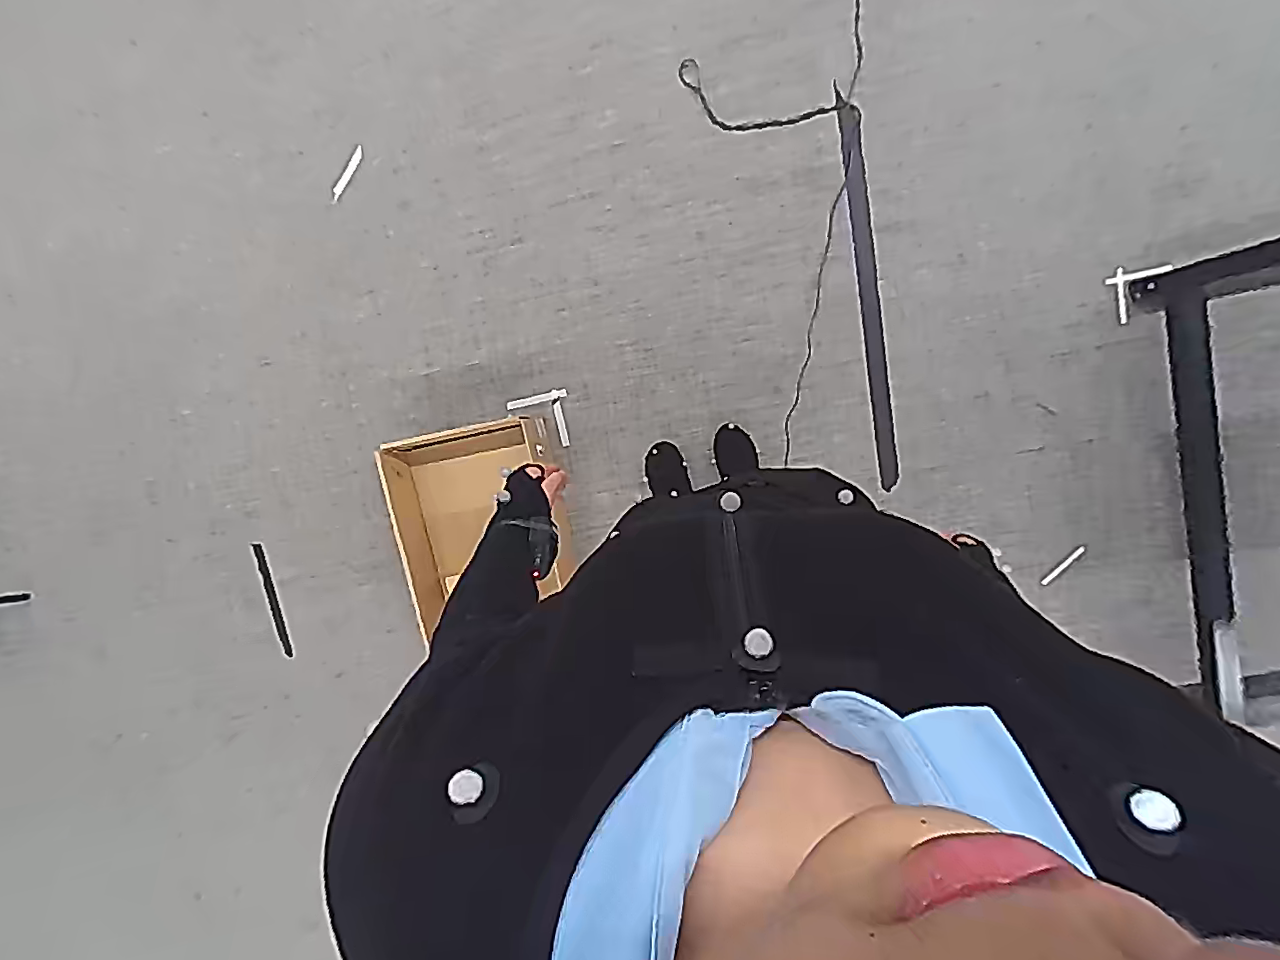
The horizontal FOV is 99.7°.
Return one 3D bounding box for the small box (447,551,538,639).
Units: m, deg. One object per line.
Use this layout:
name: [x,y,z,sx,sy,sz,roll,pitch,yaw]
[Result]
small box: [-0.382,0.300,1.444,0.179,0.176,0.168,-13,95,6]
